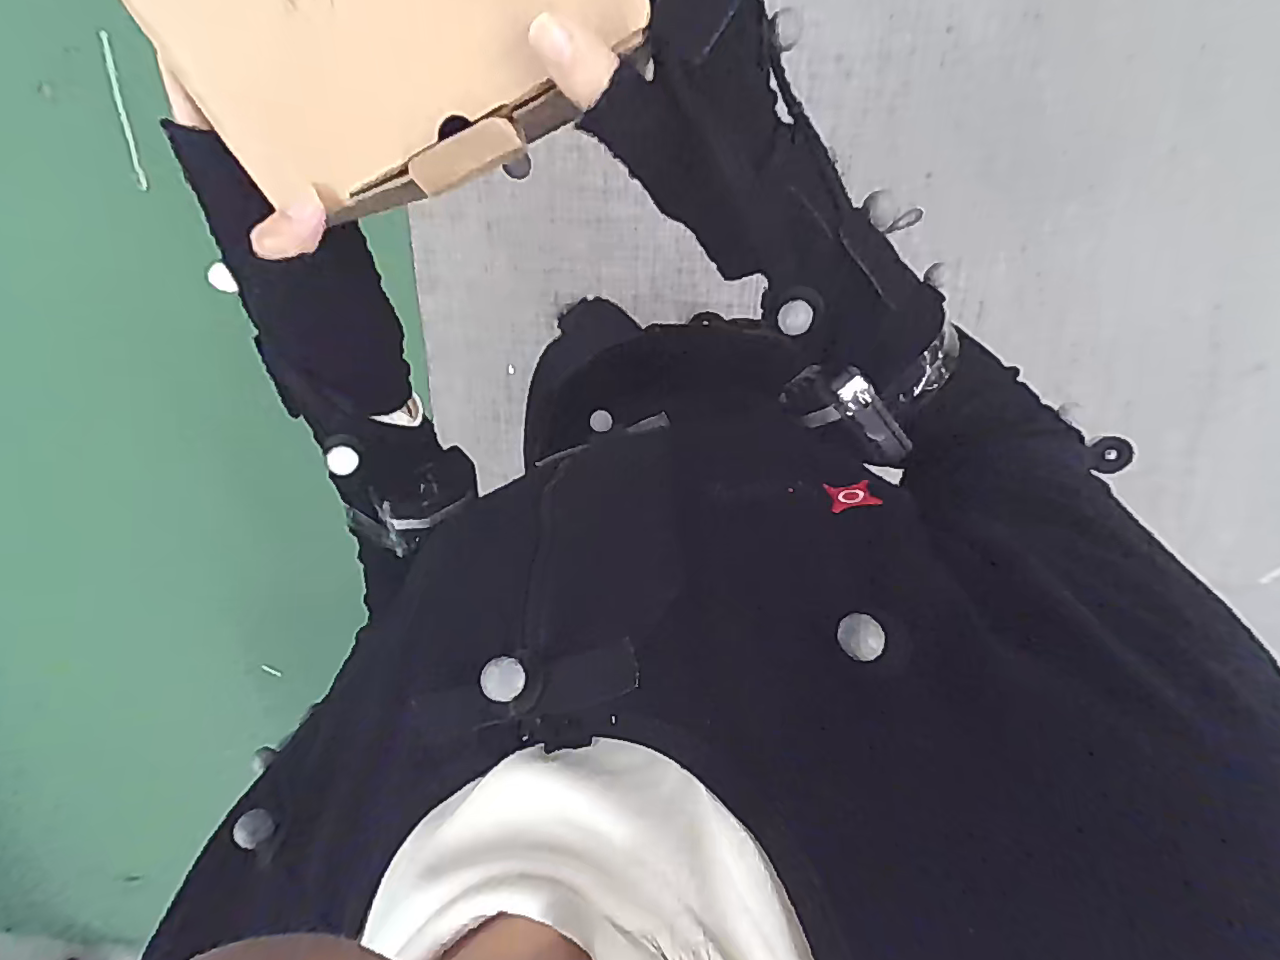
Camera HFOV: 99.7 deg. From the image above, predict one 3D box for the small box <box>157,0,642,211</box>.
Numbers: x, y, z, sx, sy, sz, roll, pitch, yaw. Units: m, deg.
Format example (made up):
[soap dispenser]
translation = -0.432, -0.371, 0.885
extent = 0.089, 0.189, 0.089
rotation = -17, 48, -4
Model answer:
[small box]
translation = -0.103, -0.252, 0.241
extent = 0.168, 0.176, 0.179
rotation = -20, 121, 13
